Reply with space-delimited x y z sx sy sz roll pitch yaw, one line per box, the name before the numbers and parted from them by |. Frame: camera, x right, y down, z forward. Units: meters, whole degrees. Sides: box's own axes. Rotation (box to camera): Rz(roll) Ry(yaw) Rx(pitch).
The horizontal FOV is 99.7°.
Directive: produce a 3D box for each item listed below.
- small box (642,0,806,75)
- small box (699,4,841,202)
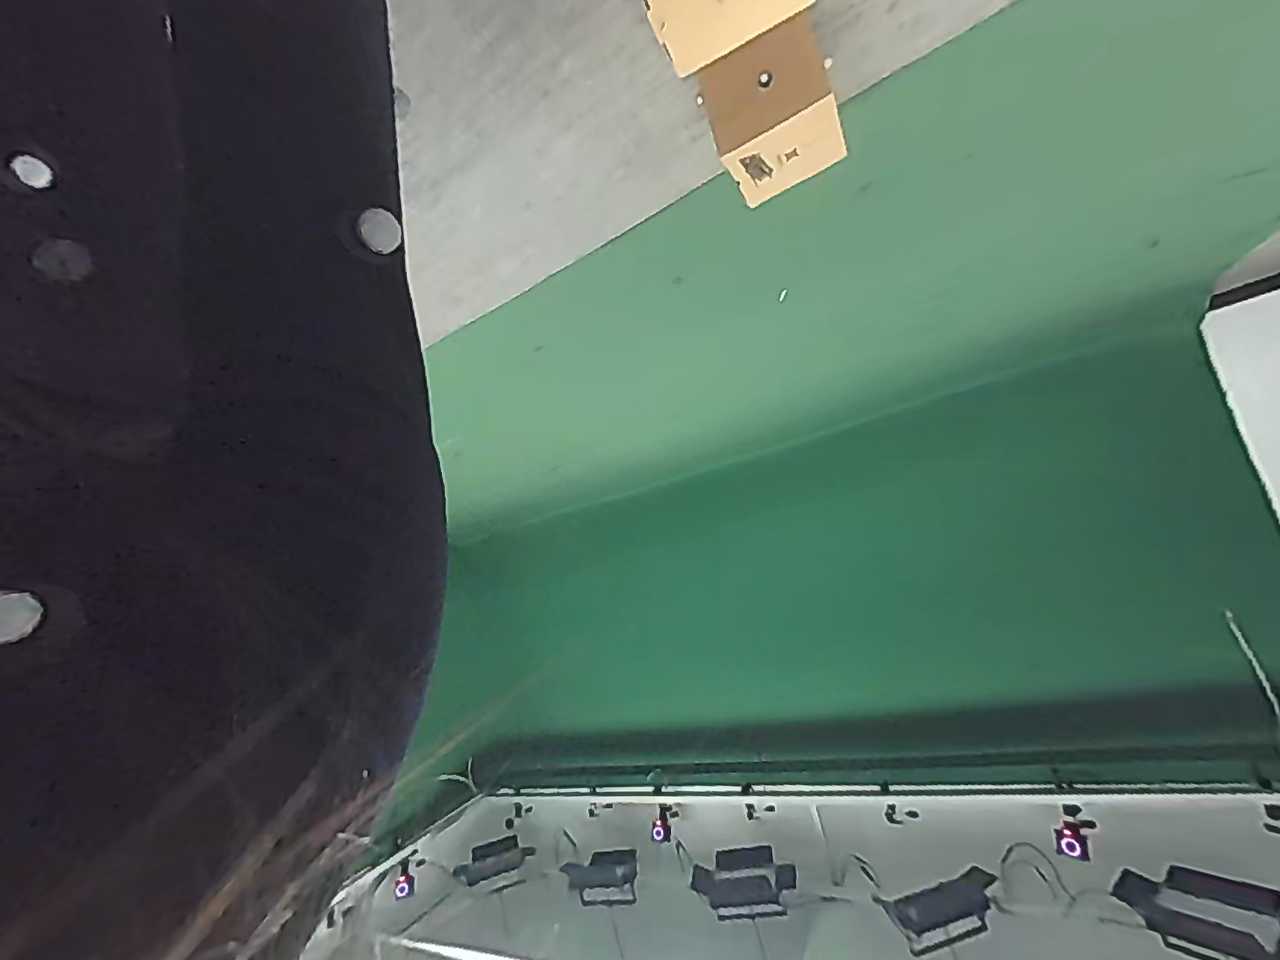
small box | 0.072 -0.613 0.588 0.179 0.176 0.168 -16 172 21
small box | 0.207 -0.603 0.877 0.179 0.176 0.168 -18 171 26
